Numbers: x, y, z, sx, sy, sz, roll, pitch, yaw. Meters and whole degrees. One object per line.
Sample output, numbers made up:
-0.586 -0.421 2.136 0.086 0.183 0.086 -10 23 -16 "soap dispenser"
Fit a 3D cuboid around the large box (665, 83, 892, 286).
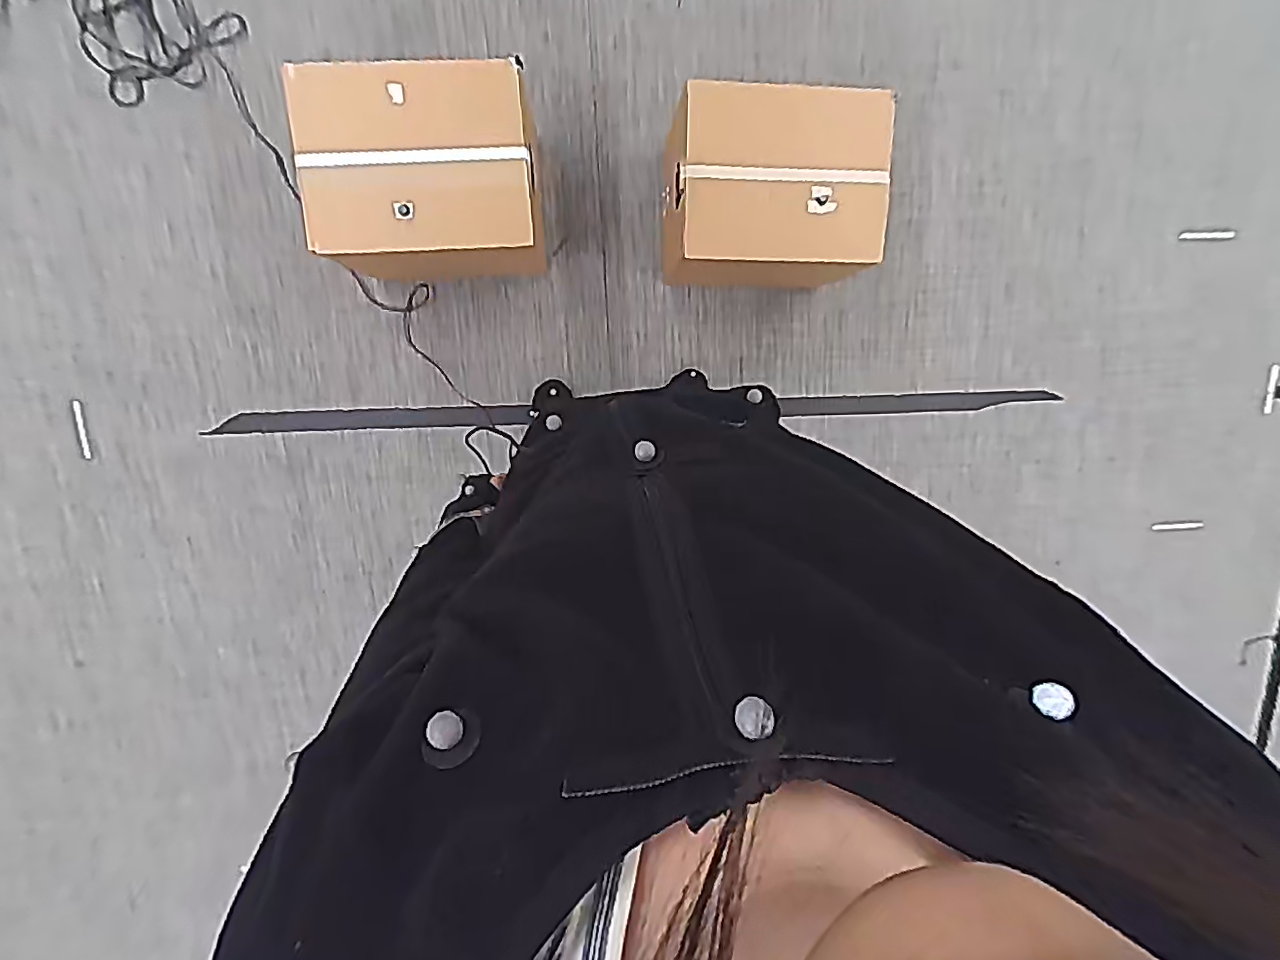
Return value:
0.272 -0.615 1.190 0.408 0.320 0.320 -1 101 -6 "large box"
